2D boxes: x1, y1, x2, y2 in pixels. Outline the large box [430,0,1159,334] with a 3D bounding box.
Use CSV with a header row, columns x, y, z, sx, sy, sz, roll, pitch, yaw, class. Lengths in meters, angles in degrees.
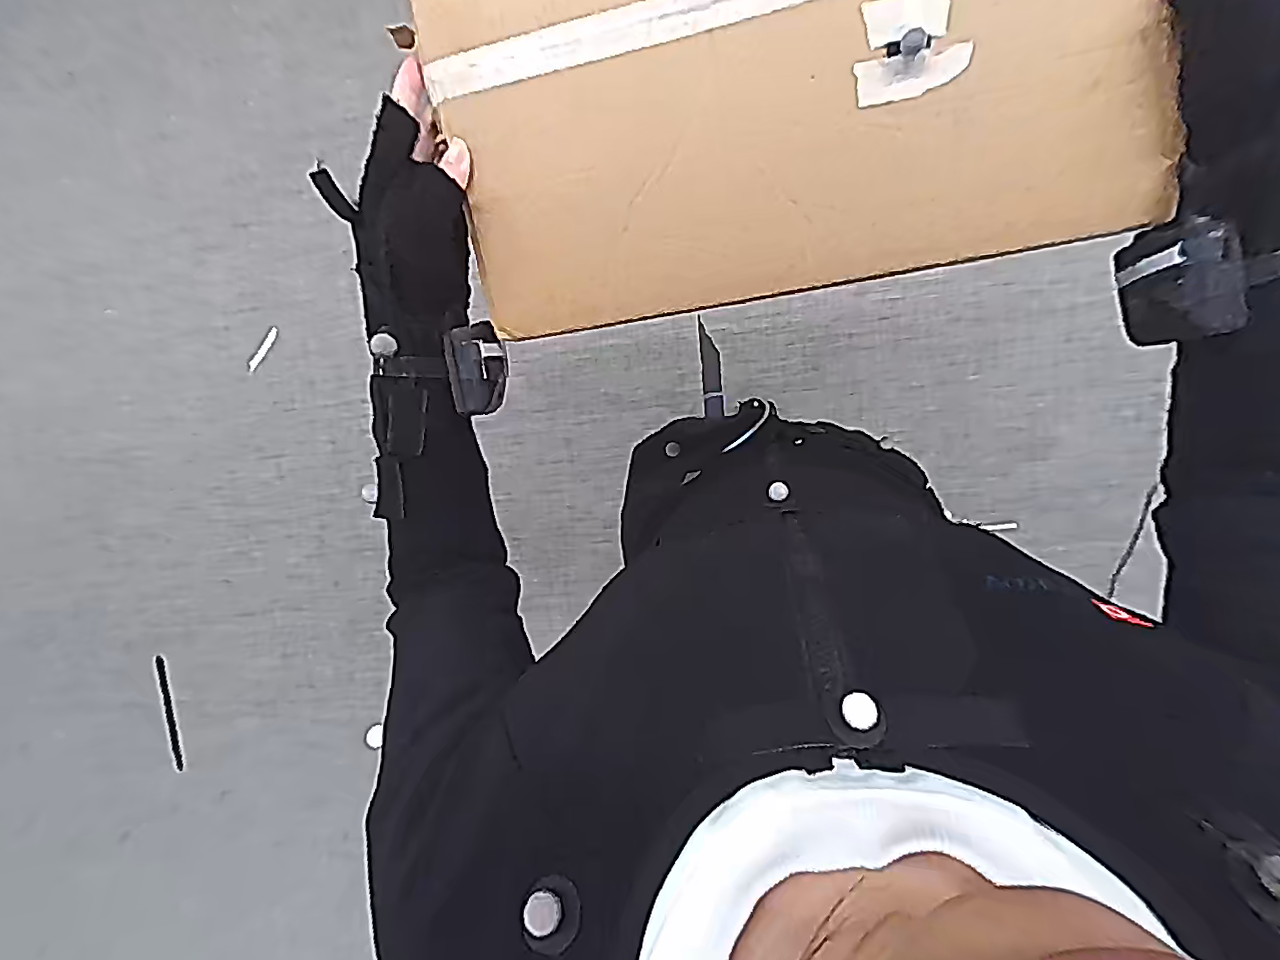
x,y,z,sx,sy,sz,roll,pitch,yaw,class
0.090,-0.321,0.447,0.408,0.320,0.320,-8,108,10,large box
